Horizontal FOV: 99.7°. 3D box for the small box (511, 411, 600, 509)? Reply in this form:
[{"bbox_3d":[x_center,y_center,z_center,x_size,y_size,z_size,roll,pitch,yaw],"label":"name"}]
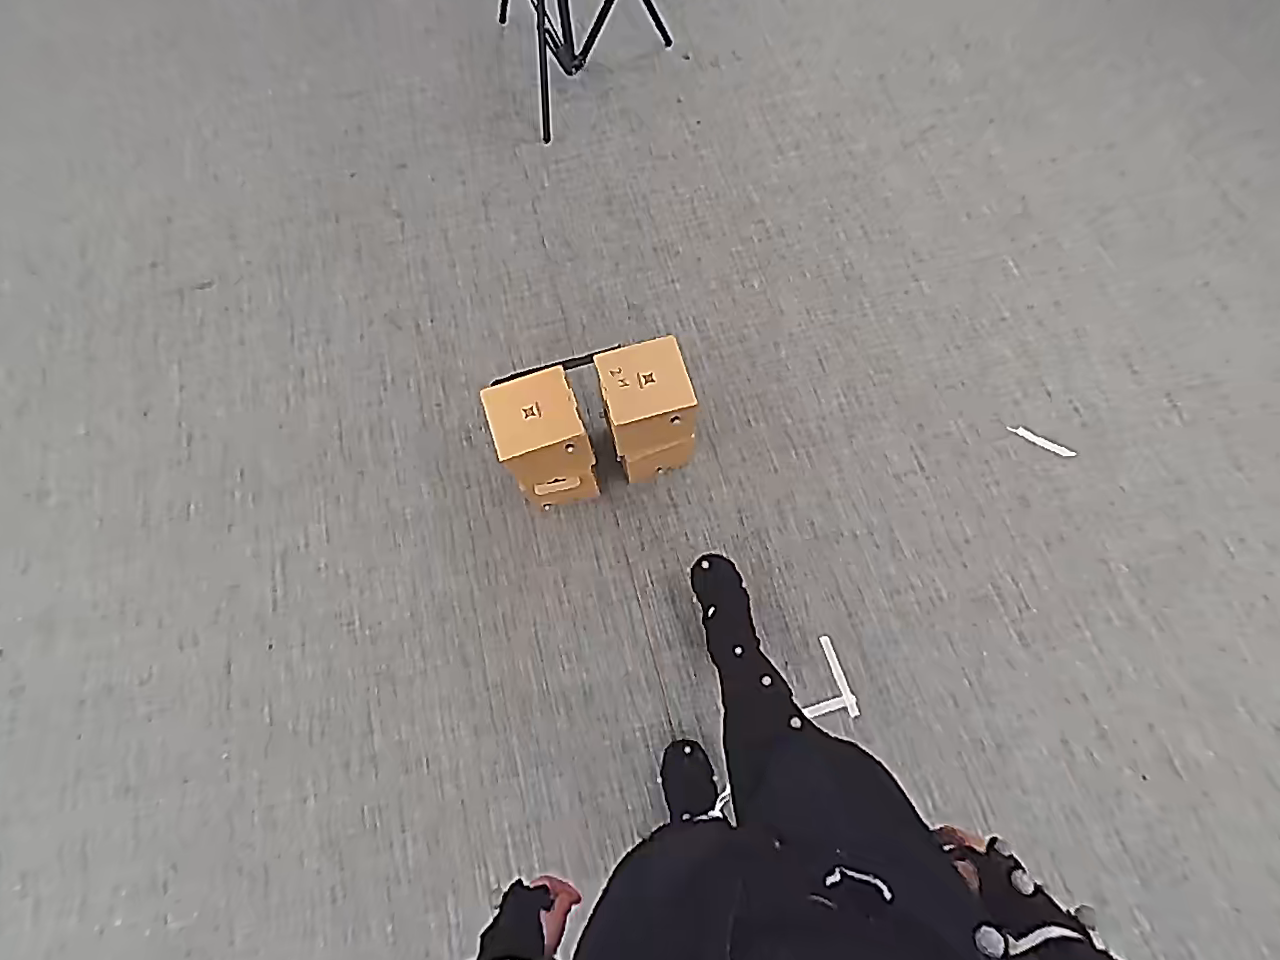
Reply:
[{"bbox_3d":[-0.196,-0.038,1.291,0.168,0.176,0.179,-13,70,-2],"label":"small box"}]
